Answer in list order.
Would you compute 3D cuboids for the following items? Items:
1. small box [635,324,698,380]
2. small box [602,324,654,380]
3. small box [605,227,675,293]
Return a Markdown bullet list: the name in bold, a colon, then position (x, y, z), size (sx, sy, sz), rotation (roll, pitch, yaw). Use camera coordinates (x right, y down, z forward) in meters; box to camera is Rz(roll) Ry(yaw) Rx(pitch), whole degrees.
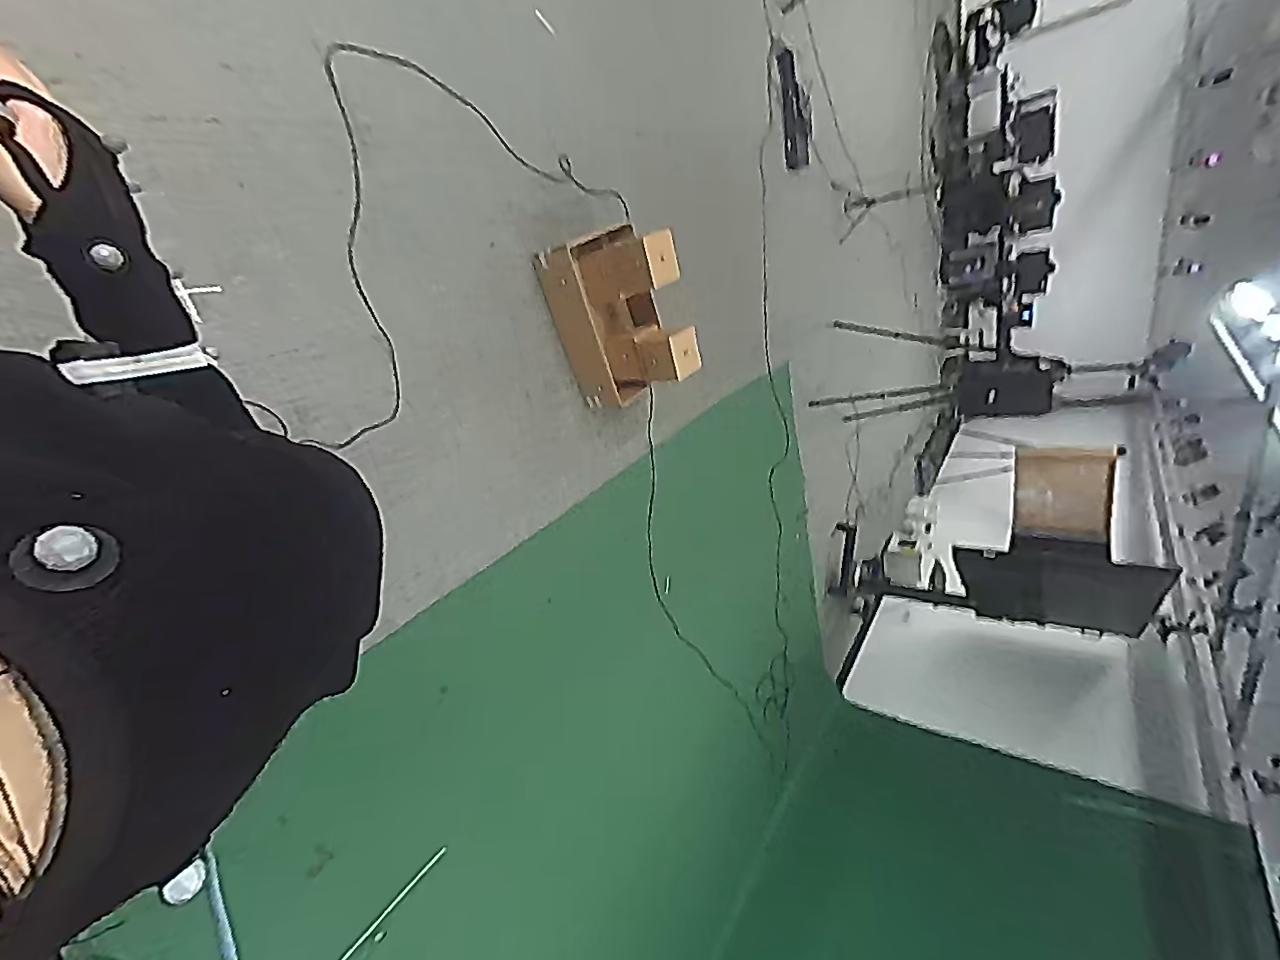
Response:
- **small box**: position (0.099, -0.496, 2.112), size (0.179, 0.176, 0.168), rotation (-41, 125, -42)
- **small box**: position (-0.033, -0.520, 2.210), size (0.168, 0.176, 0.179), rotation (-41, 123, -41)
- **small box**: position (-0.003, -0.795, 1.959), size (0.168, 0.176, 0.179), rotation (-39, 124, -40)
